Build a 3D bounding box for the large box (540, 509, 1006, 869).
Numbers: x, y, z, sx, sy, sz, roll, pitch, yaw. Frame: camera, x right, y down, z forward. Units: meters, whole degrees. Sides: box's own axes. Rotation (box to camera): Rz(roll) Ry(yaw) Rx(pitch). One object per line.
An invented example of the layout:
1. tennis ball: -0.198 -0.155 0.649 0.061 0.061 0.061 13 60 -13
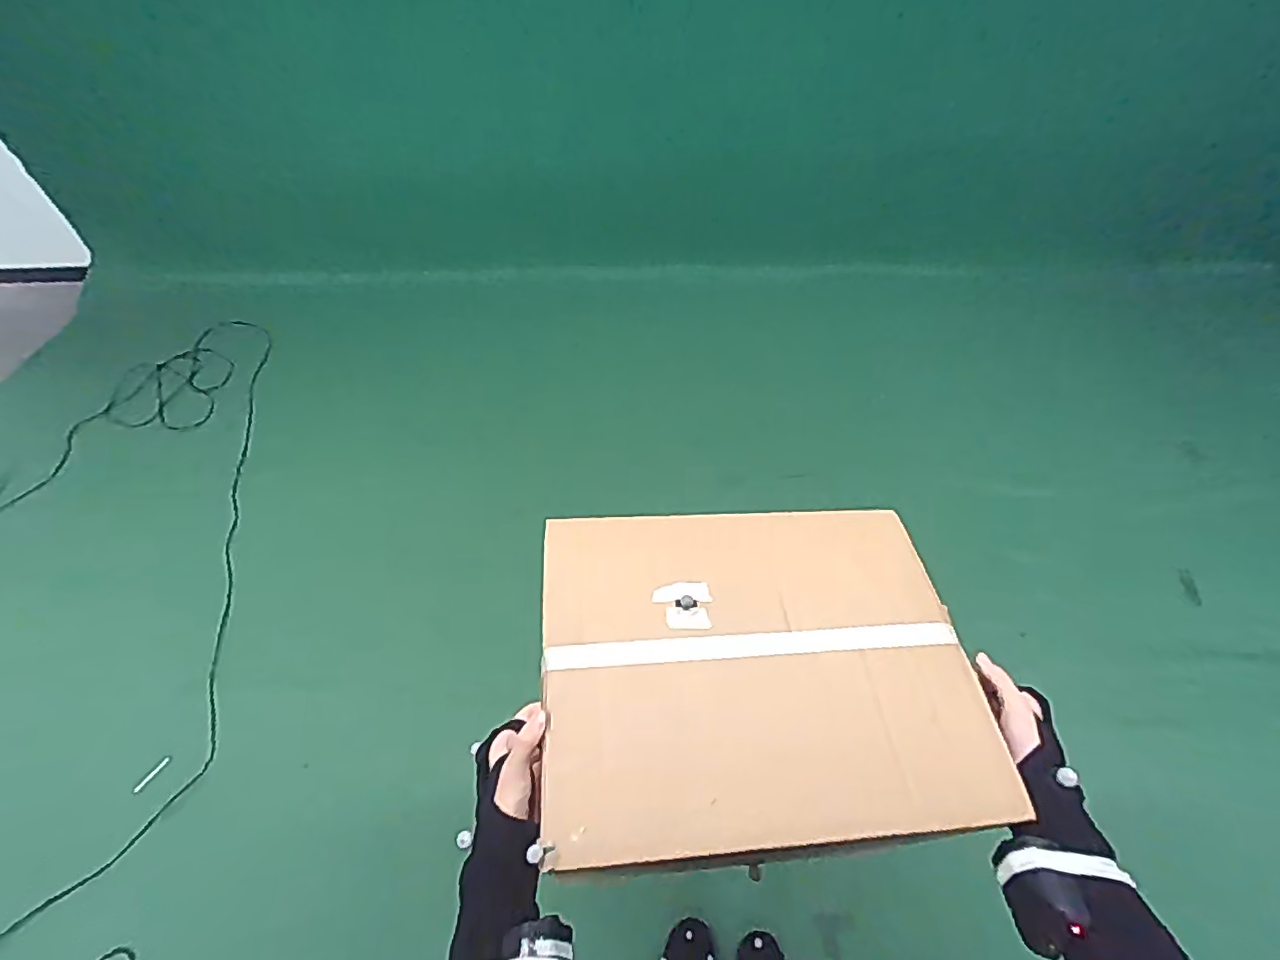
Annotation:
1. large box: 0.097 0.254 0.646 0.408 0.320 0.320 -2 53 -6
